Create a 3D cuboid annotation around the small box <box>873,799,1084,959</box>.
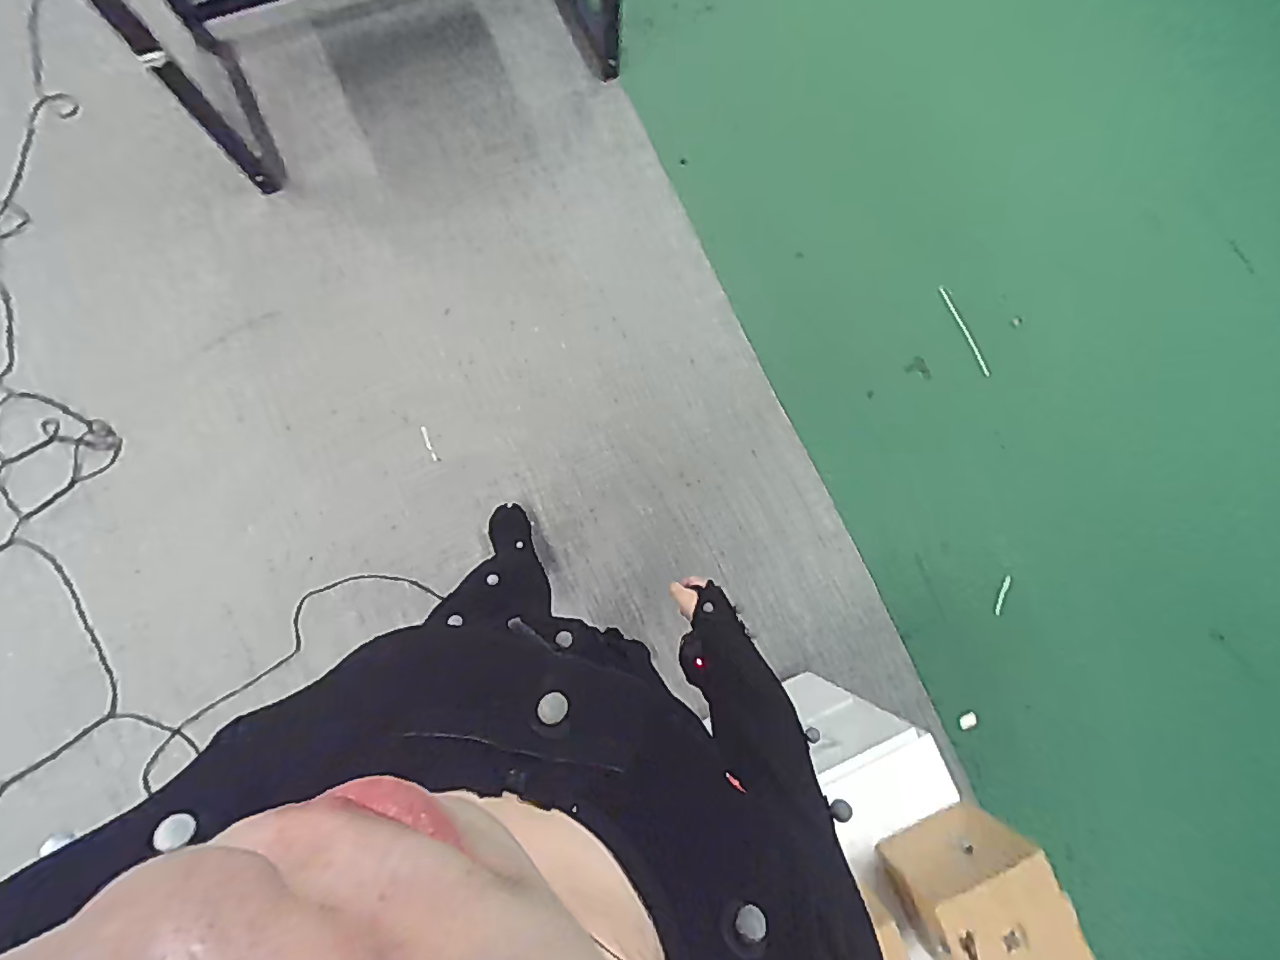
[{"bbox_3d":[0.493,0.623,0.814,0.179,0.176,0.168,-22,83,-7],"label":"small box"}]
